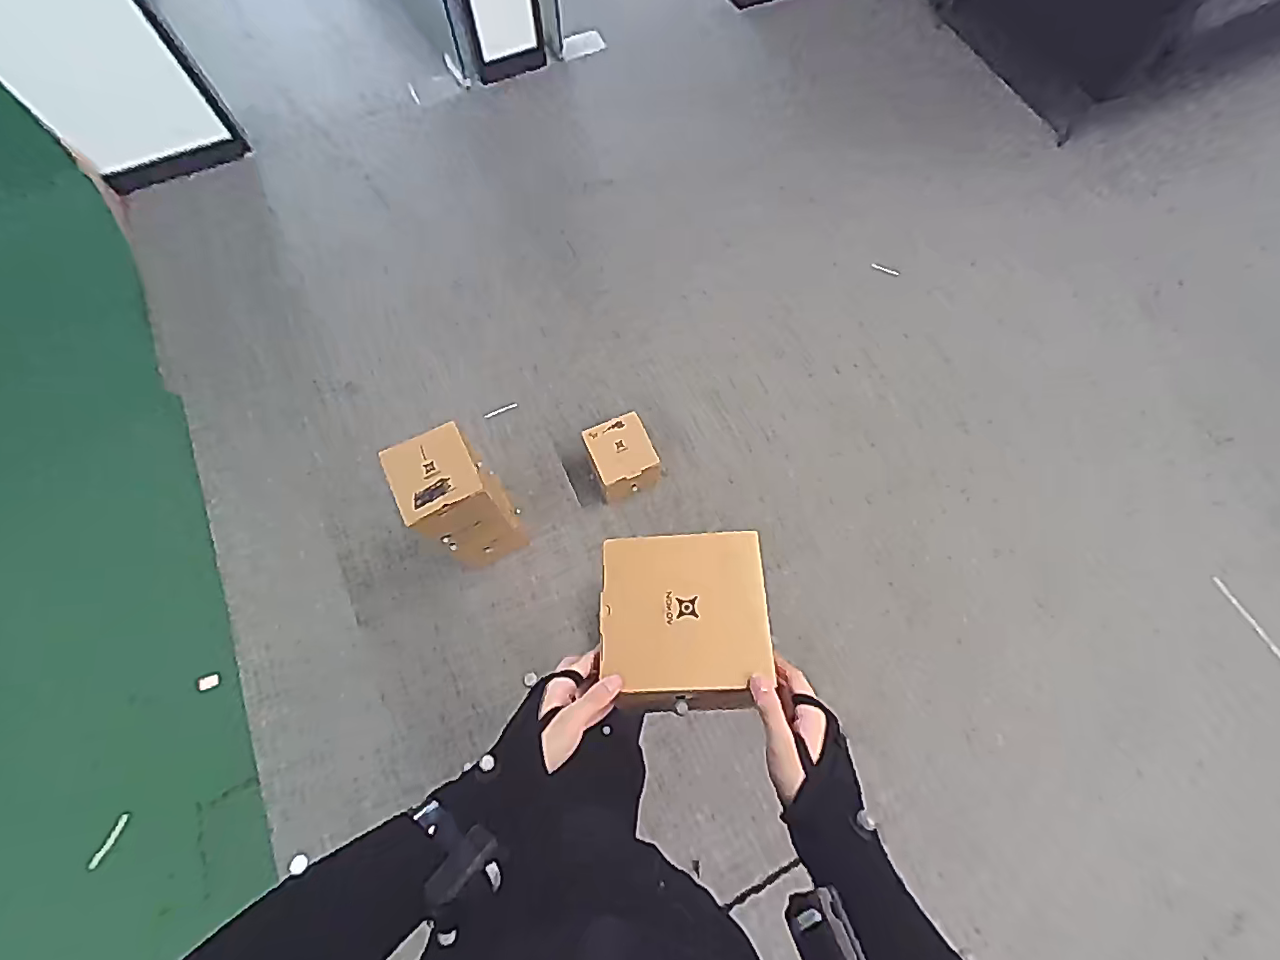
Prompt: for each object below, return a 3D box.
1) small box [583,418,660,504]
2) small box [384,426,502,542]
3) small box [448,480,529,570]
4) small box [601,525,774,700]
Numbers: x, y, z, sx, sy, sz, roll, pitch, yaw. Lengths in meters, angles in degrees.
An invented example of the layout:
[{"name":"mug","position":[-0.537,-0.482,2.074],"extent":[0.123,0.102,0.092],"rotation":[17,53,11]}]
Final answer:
[{"name":"small box","position":[-0.052,-0.044,1.550],"extent":[0.168,0.176,0.179],"rotation":[-22,71,-10]},{"name":"small box","position":[-0.416,0.019,1.166],"extent":[0.168,0.176,0.179],"rotation":[-25,70,-10]},{"name":"small box","position":[-0.424,0.129,1.476],"extent":[0.179,0.176,0.168],"rotation":[-24,71,-10]},{"name":"small box","position":[0.055,0.165,0.647],"extent":[0.179,0.176,0.168],"rotation":[-5,60,6]}]
